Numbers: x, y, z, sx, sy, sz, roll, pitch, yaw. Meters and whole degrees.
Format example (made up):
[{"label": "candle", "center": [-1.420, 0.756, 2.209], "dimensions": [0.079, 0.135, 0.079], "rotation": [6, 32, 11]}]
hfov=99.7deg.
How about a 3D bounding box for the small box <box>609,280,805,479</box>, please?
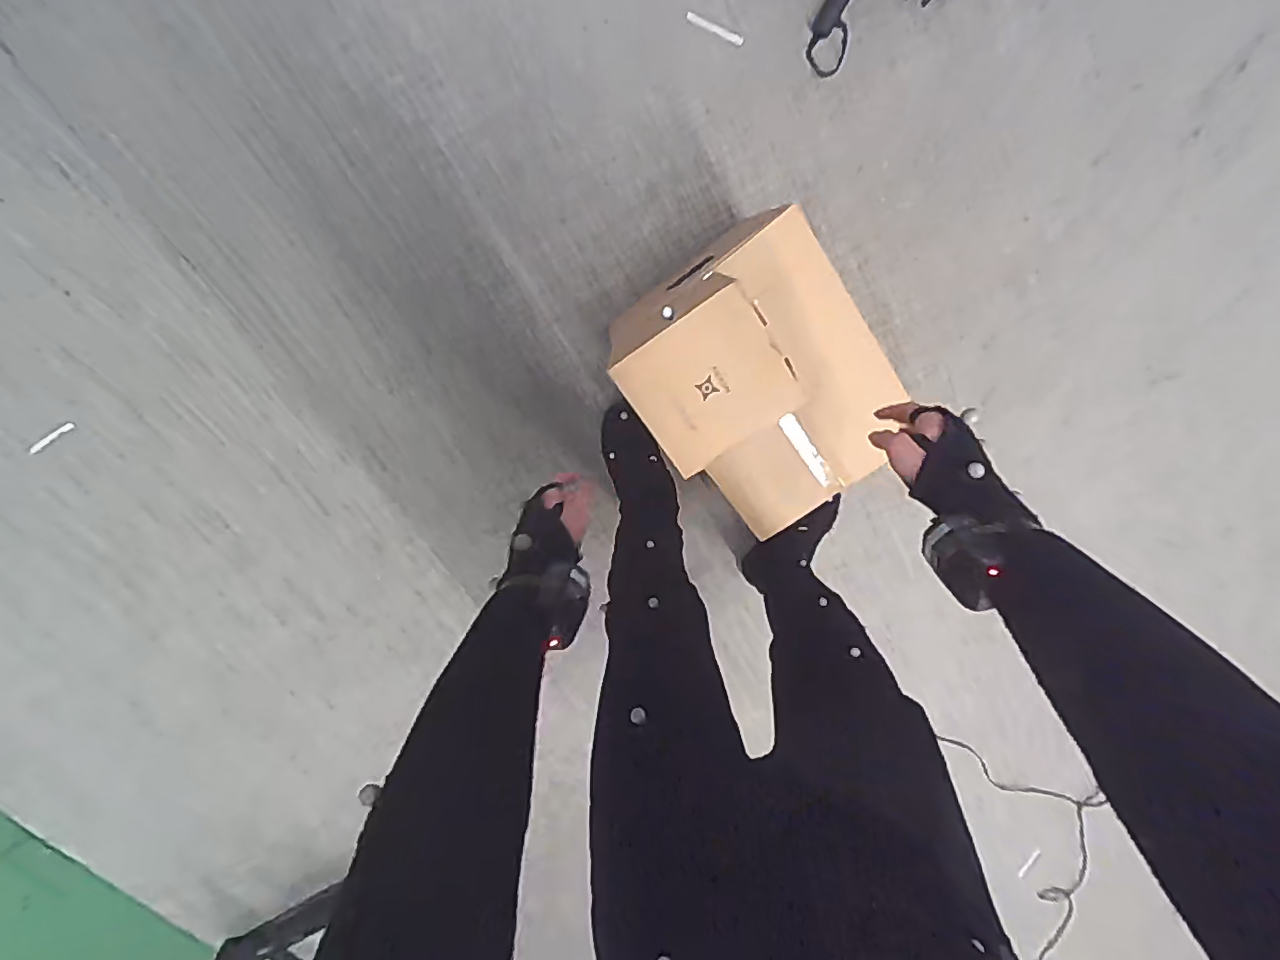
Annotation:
[{"label": "small box", "center": [0.077, -0.138, 0.694], "dimensions": [0.179, 0.176, 0.168], "rotation": [-33, 109, 14]}]
